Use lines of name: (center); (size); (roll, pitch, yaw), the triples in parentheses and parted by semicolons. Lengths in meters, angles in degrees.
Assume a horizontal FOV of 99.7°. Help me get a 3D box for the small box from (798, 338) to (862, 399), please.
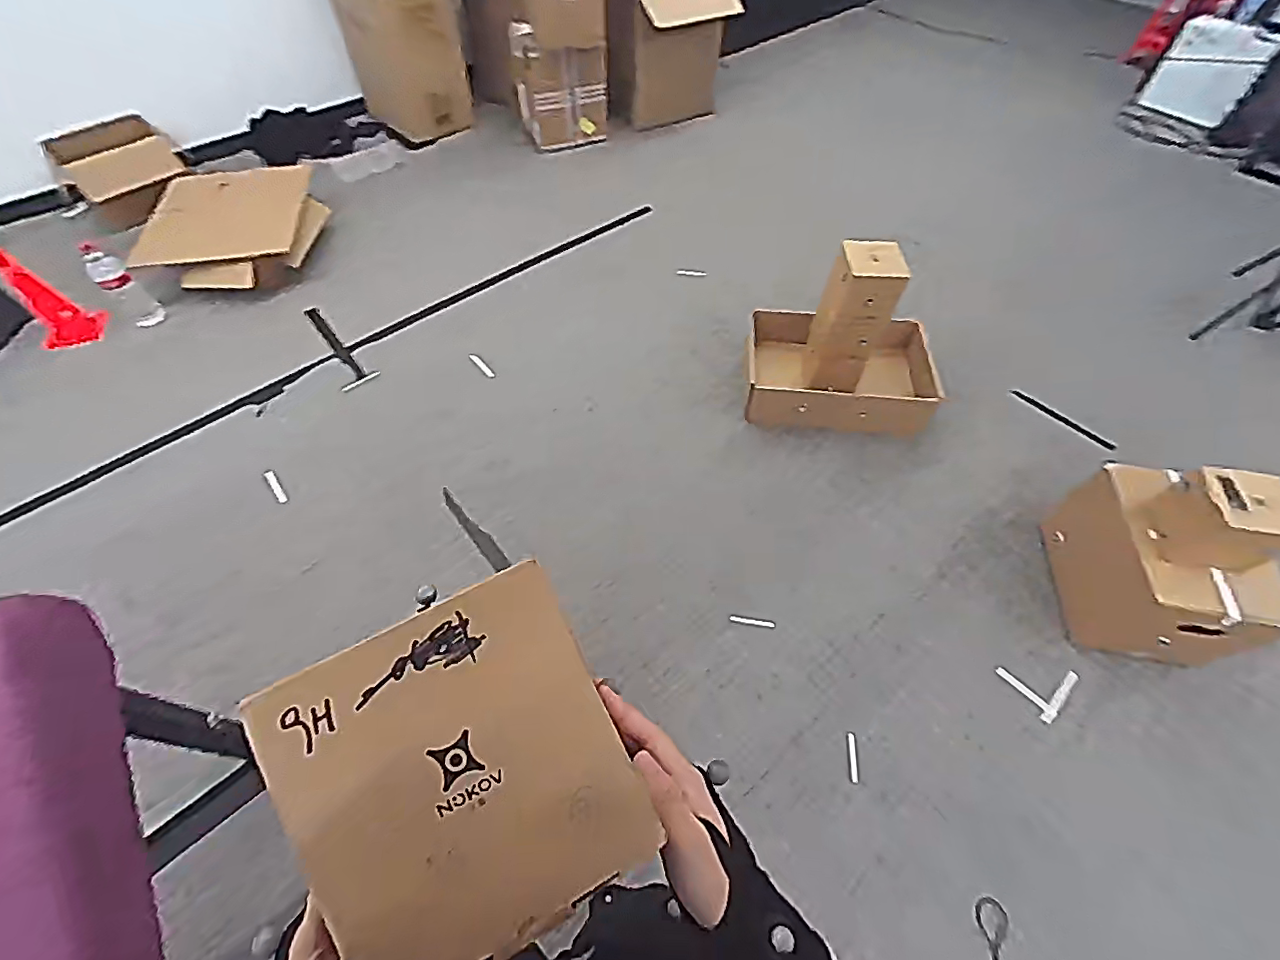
small box: (0.662, -0.410, 1.906); (0.168, 0.176, 0.179); (4, 56, 3)

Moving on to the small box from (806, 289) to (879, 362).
small box: (0.657, -0.504, 1.774); (0.168, 0.176, 0.179); (2, 55, -1)

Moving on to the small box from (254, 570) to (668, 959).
small box: (-0.103, 0.172, 0.367); (0.168, 0.176, 0.179); (-26, 86, -12)

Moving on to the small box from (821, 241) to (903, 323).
small box: (0.663, -0.596, 1.637); (0.168, 0.176, 0.179); (2, 56, -1)
